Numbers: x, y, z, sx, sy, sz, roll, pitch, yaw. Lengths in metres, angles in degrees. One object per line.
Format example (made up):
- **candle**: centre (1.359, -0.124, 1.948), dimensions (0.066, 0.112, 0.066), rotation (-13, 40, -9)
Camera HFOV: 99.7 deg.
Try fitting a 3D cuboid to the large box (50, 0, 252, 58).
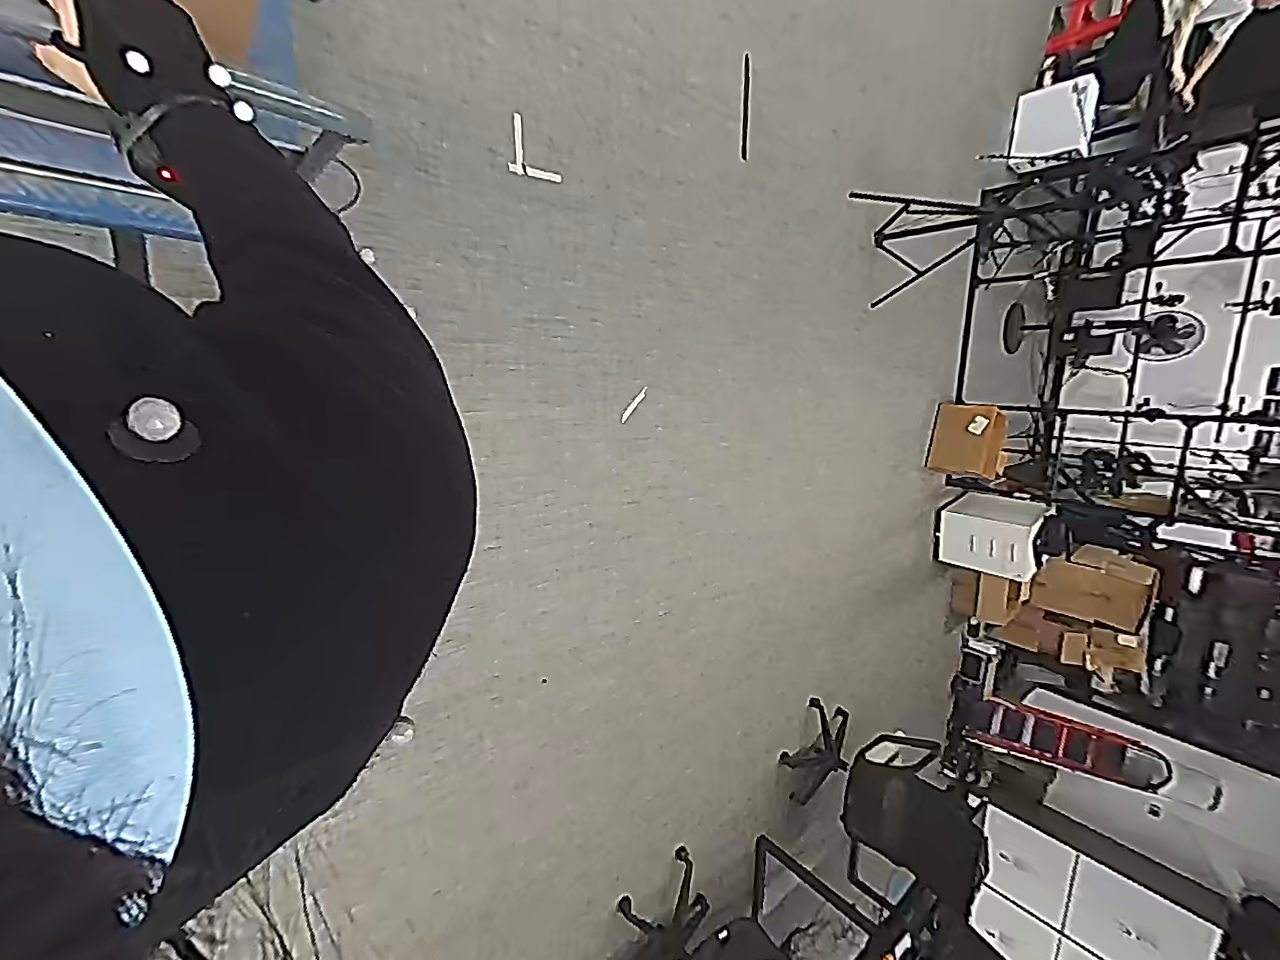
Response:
- **large box**: centre (-0.803, -0.887, 0.747), dimensions (0.408, 0.320, 0.320), rotation (-6, 102, -39)
